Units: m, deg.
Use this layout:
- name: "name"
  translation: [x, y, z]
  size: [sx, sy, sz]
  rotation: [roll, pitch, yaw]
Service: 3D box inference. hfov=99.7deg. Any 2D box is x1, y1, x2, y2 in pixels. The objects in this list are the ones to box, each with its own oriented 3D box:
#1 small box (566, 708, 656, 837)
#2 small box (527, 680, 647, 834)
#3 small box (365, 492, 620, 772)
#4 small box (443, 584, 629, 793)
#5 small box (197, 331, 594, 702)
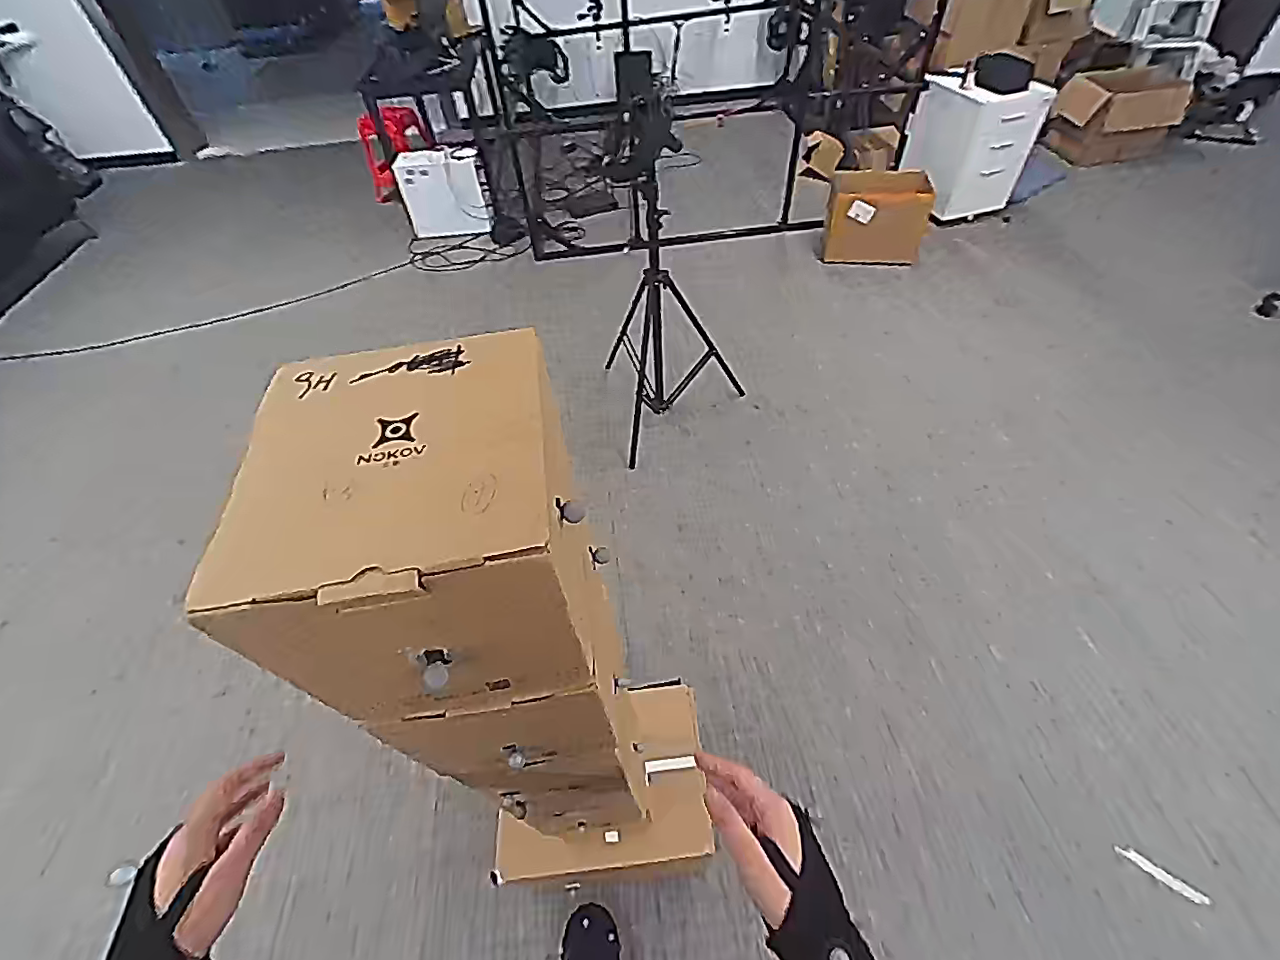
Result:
- name: "small box"
  translation: [-0.070, 0.542, 0.997]
  size: [0.179, 0.176, 0.168]
  rotation: [-8, 51, -3]
- name: "small box"
  translation: [-0.083, 0.446, 0.867]
  size: [0.168, 0.176, 0.179]
  rotation: [-8, 51, -2]
- name: "small box"
  translation: [-0.113, 0.138, 0.484]
  size: [0.168, 0.176, 0.179]
  rotation: [-9, 51, -2]
- name: "small box"
  translation: [-0.104, 0.240, 0.612]
  size: [0.168, 0.176, 0.179]
  rotation: [-6, 50, -1]
- name: "small box"
  translation: [-0.128, 0.032, 0.359]
  size: [0.168, 0.176, 0.179]
  rotation: [-10, 52, -3]
